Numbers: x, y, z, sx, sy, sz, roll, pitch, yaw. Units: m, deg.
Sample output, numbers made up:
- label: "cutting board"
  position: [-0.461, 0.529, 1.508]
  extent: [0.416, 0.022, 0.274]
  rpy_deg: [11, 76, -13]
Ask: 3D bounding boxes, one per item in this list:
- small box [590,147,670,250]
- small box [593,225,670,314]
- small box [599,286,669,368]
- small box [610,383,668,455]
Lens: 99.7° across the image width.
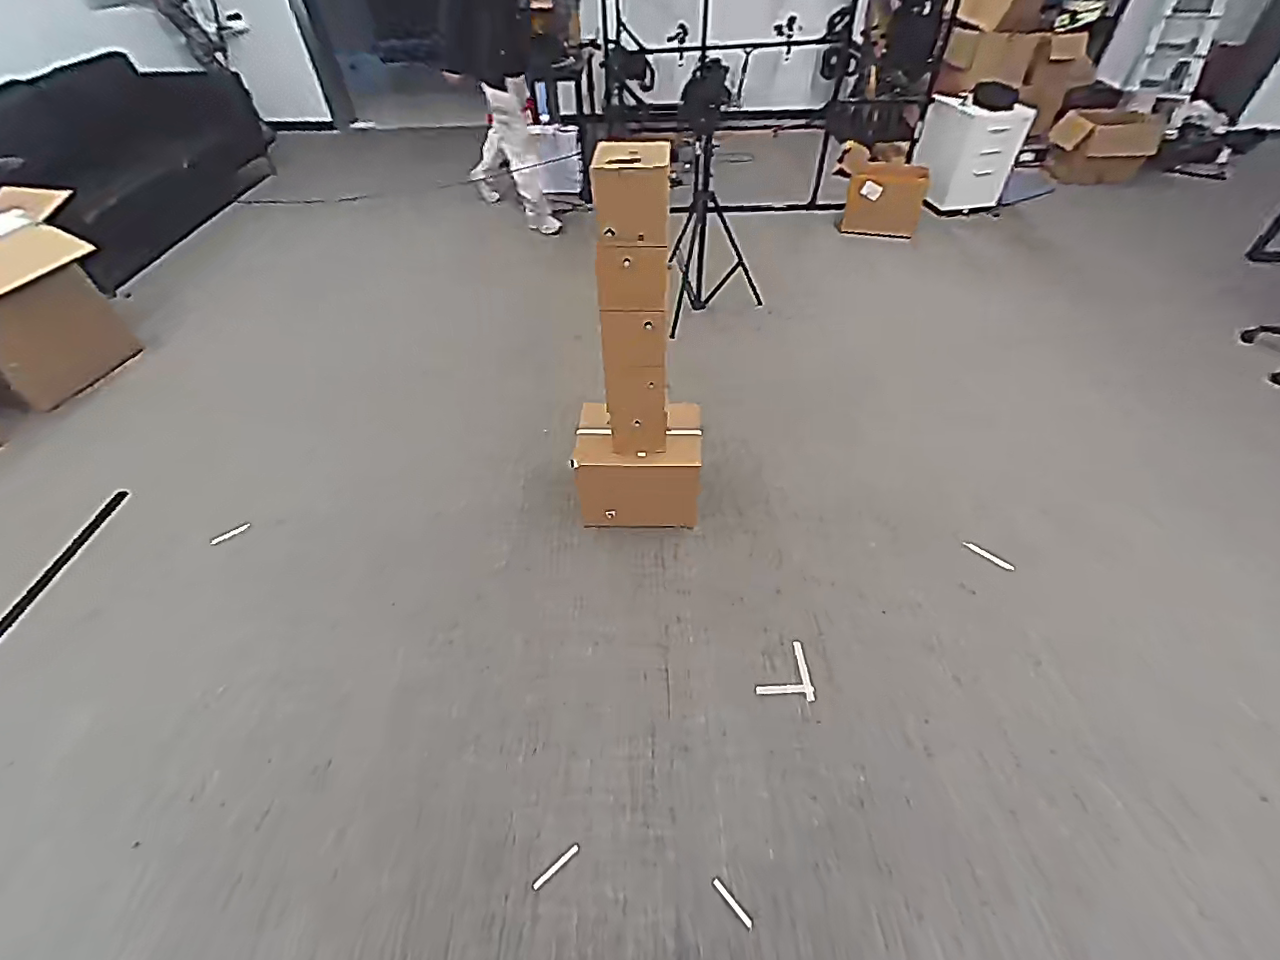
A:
- label: "small box"
  position: [-0.016, -0.645, 1.244]
  extent: [0.168, 0.176, 0.179]
  rpy_deg: [2, 47, 3]
- label: "small box"
  position: [-0.016, -0.531, 1.363]
  extent: [0.179, 0.176, 0.168]
  rpy_deg: [2, 48, 4]
- label: "small box"
  position: [-0.012, -0.420, 1.480]
  extent: [0.179, 0.176, 0.168]
  rpy_deg: [2, 47, 3]
- label: "small box"
  position: [-0.002, -0.192, 1.717]
  extent: [0.179, 0.176, 0.168]
  rpy_deg: [0, 48, 0]
